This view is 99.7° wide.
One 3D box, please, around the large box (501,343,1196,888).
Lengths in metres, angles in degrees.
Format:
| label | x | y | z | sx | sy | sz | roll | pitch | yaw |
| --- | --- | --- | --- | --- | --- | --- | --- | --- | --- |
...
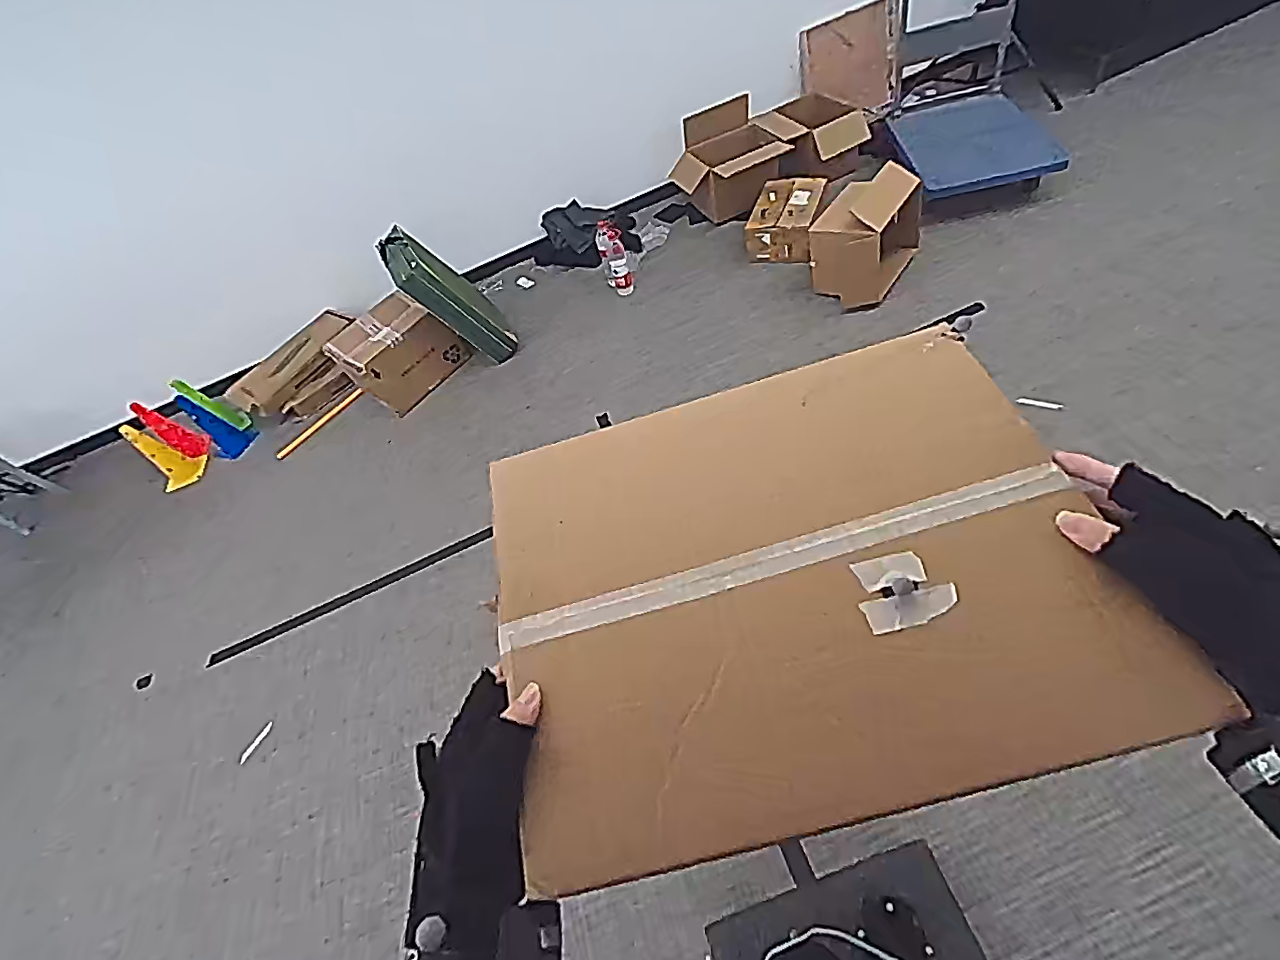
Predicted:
| label | x | y | z | sx | sy | sz | roll | pitch | yaw |
| --- | --- | --- | --- | --- | --- | --- | --- | --- | --- |
| large box | 0.125 | 0.138 | 0.520 | 0.408 | 0.320 | 0.320 | -17 | 58 | 3 |

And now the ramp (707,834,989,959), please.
| label | x | y | z | sx | sy | sz | roll | pitch | yaw |
| --- | --- | --- | --- | --- | --- | --- | --- | --- | --- |
| ramp | 0.525 | 1.217 | 0.874 | 0.509 | 0.206 | 0.991 | -23 | 51 | -2 |
